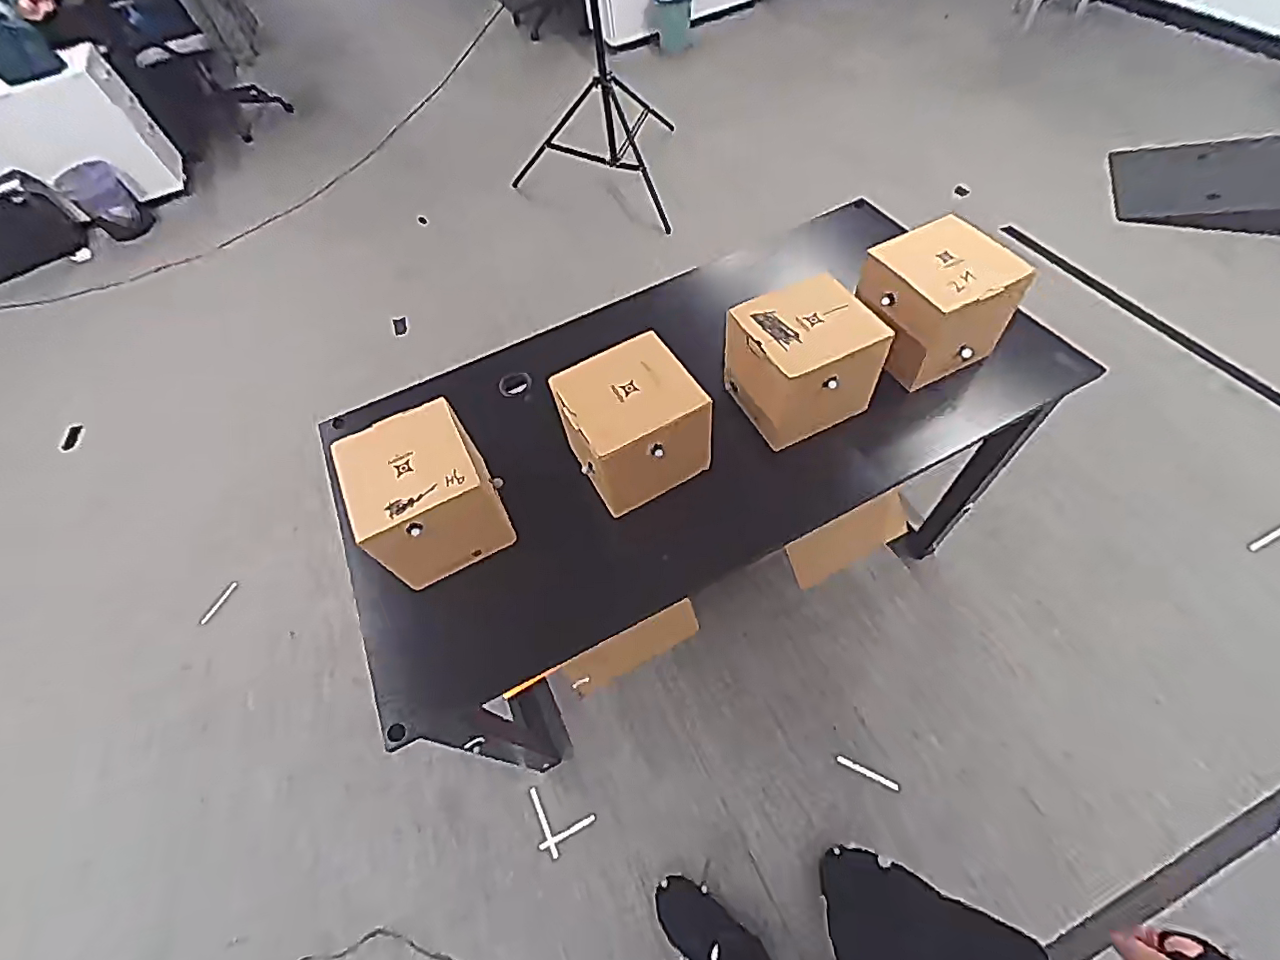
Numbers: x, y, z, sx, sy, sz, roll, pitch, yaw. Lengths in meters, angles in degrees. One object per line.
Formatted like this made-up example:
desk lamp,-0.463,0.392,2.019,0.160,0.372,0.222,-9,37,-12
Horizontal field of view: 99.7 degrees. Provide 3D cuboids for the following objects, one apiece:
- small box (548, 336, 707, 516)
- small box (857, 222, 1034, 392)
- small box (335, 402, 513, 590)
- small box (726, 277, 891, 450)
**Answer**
small box,-0.012,-0.075,0.812,0.179,0.176,0.168,-28,60,-11
small box,0.468,-0.276,0.876,0.168,0.176,0.179,-24,58,-7
small box,-0.304,0.027,0.781,0.168,0.176,0.179,-26,58,-10
small box,0.248,-0.175,0.841,0.179,0.176,0.168,-24,58,-8
